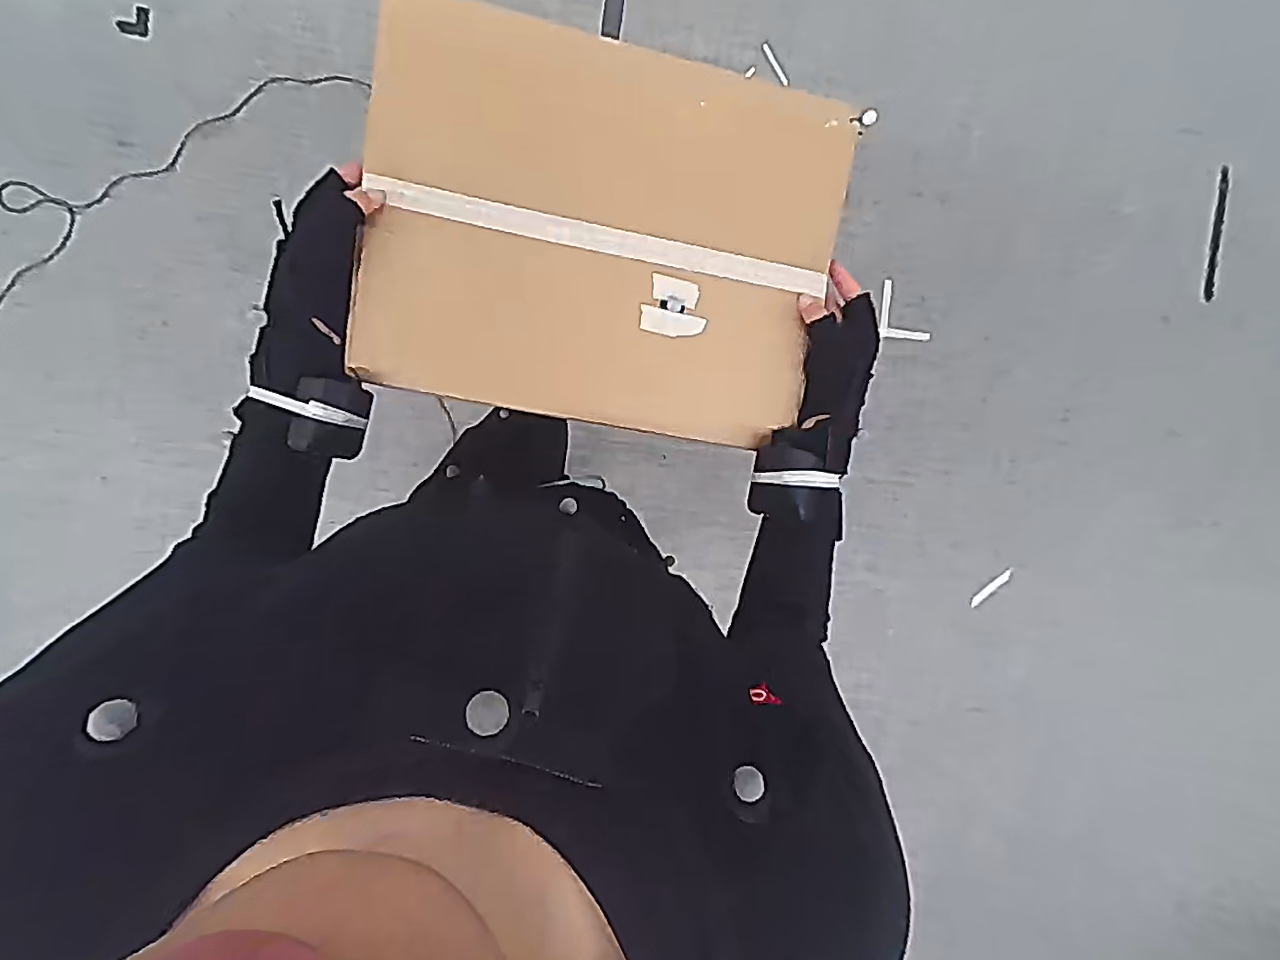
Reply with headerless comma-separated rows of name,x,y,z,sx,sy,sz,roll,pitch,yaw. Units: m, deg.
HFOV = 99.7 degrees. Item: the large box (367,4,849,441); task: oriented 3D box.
large box,-0.045,-0.234,0.630,0.408,0.320,0.320,9,98,-9
